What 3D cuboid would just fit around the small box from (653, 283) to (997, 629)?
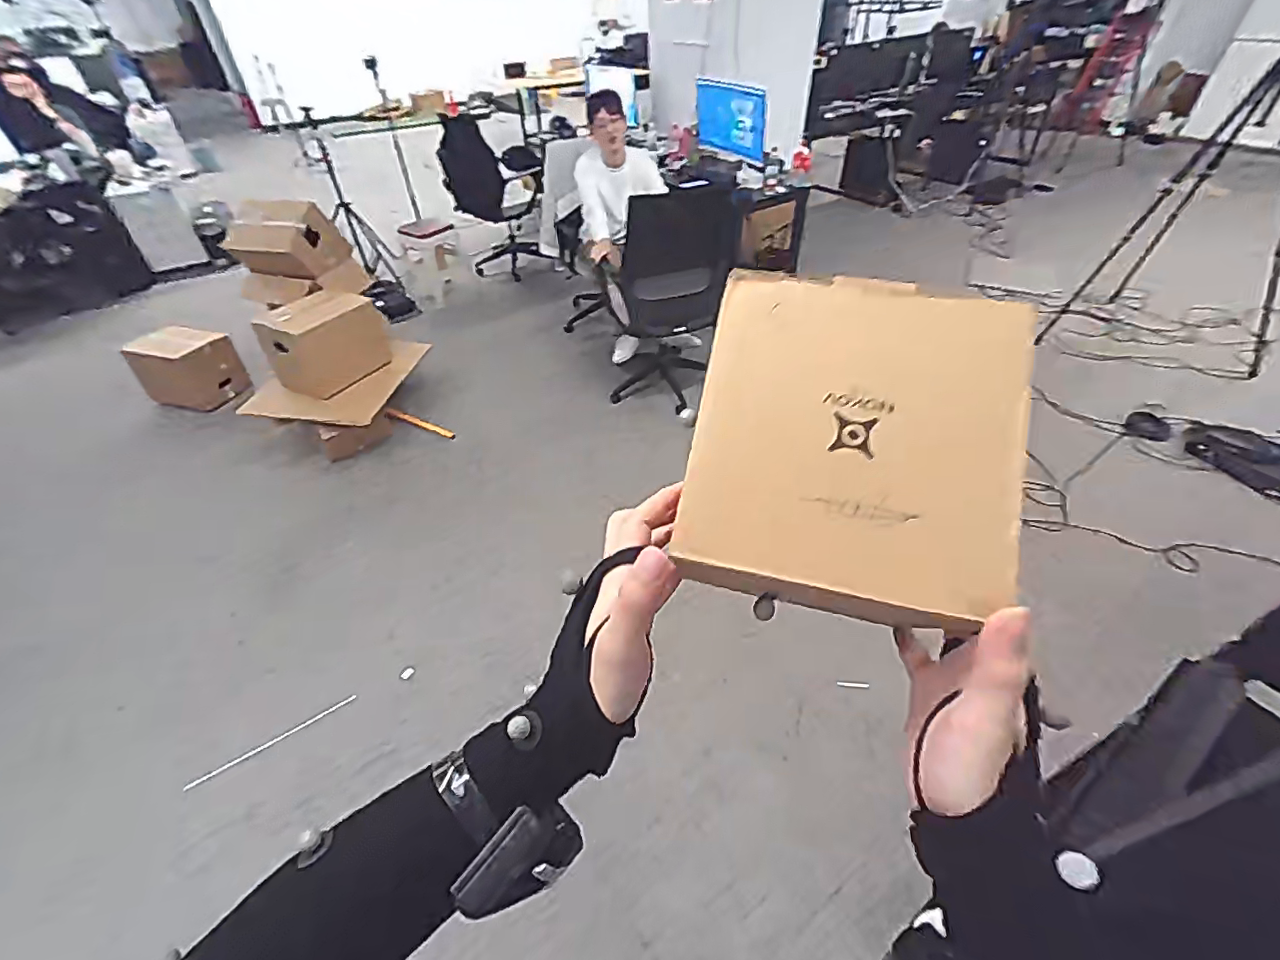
[{"bbox_3d":[0.112,-0.003,0.371,0.168,0.176,0.179,10,76,10],"label":"small box"}]
